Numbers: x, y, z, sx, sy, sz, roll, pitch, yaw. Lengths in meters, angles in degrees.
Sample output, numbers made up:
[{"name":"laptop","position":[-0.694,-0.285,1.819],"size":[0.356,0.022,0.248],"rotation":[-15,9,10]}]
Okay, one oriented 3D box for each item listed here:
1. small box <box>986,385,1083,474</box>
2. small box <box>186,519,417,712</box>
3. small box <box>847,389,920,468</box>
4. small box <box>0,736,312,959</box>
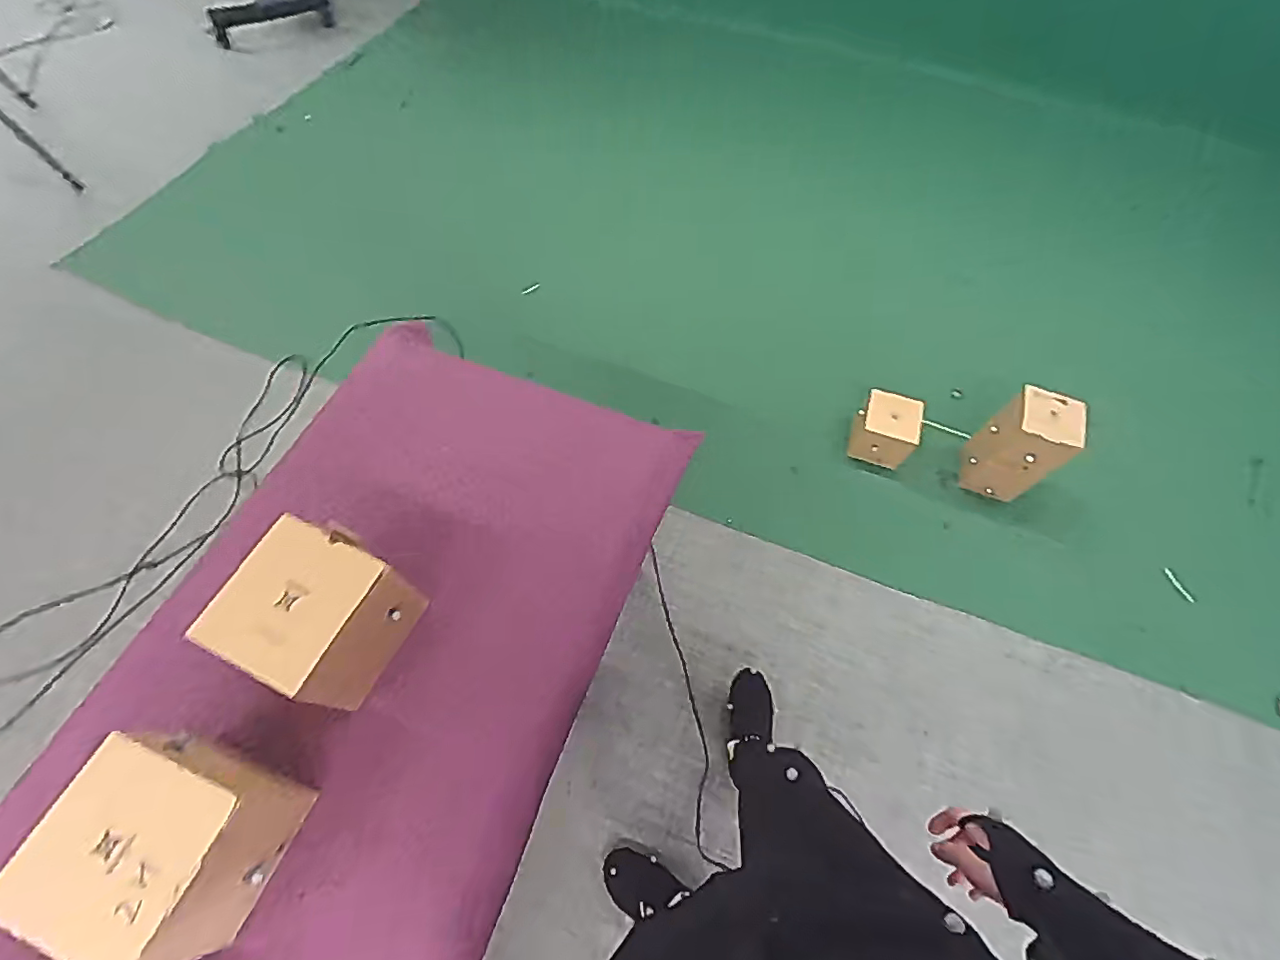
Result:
[{"name":"small box","position":[1.160,-0.144,1.600],"size":[0.168,0.176,0.179],"rotation":[22,64,9]},{"name":"small box","position":[-0.428,0.187,0.726],"size":[0.168,0.176,0.179],"rotation":[23,64,11]},{"name":"small box","position":[0.800,-0.165,1.788],"size":[0.168,0.176,0.179],"rotation":[18,61,8]},{"name":"small box","position":[-0.521,0.407,0.600],"size":[0.179,0.176,0.168],"rotation":[20,63,8]}]
